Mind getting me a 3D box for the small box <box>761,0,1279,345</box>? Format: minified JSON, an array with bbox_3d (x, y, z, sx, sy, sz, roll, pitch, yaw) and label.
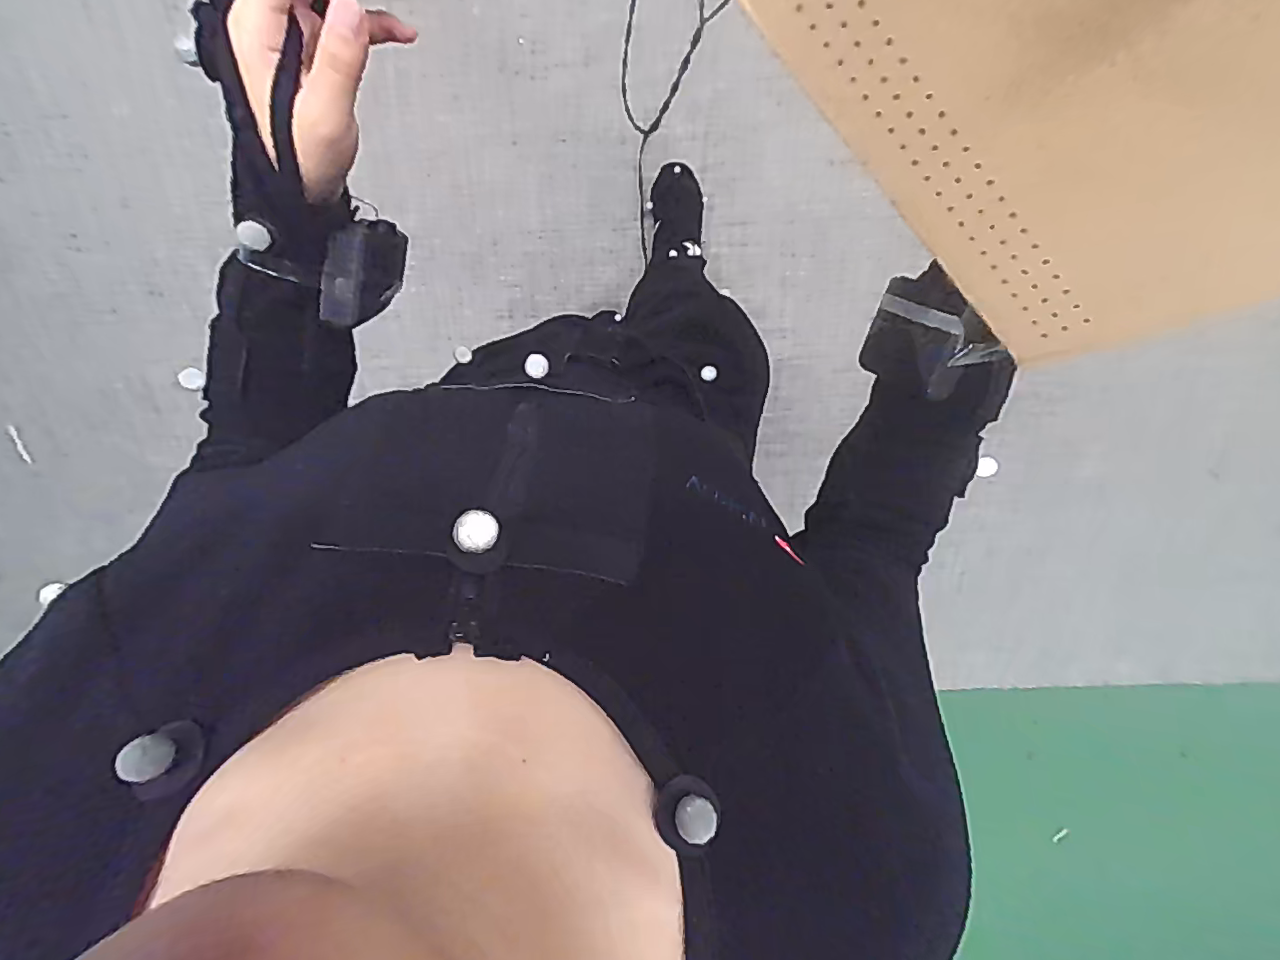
[{"bbox_3d":[0.169,-0.171,0.153,0.179,0.176,0.168,41,69,-13],"label":"small box"}]
